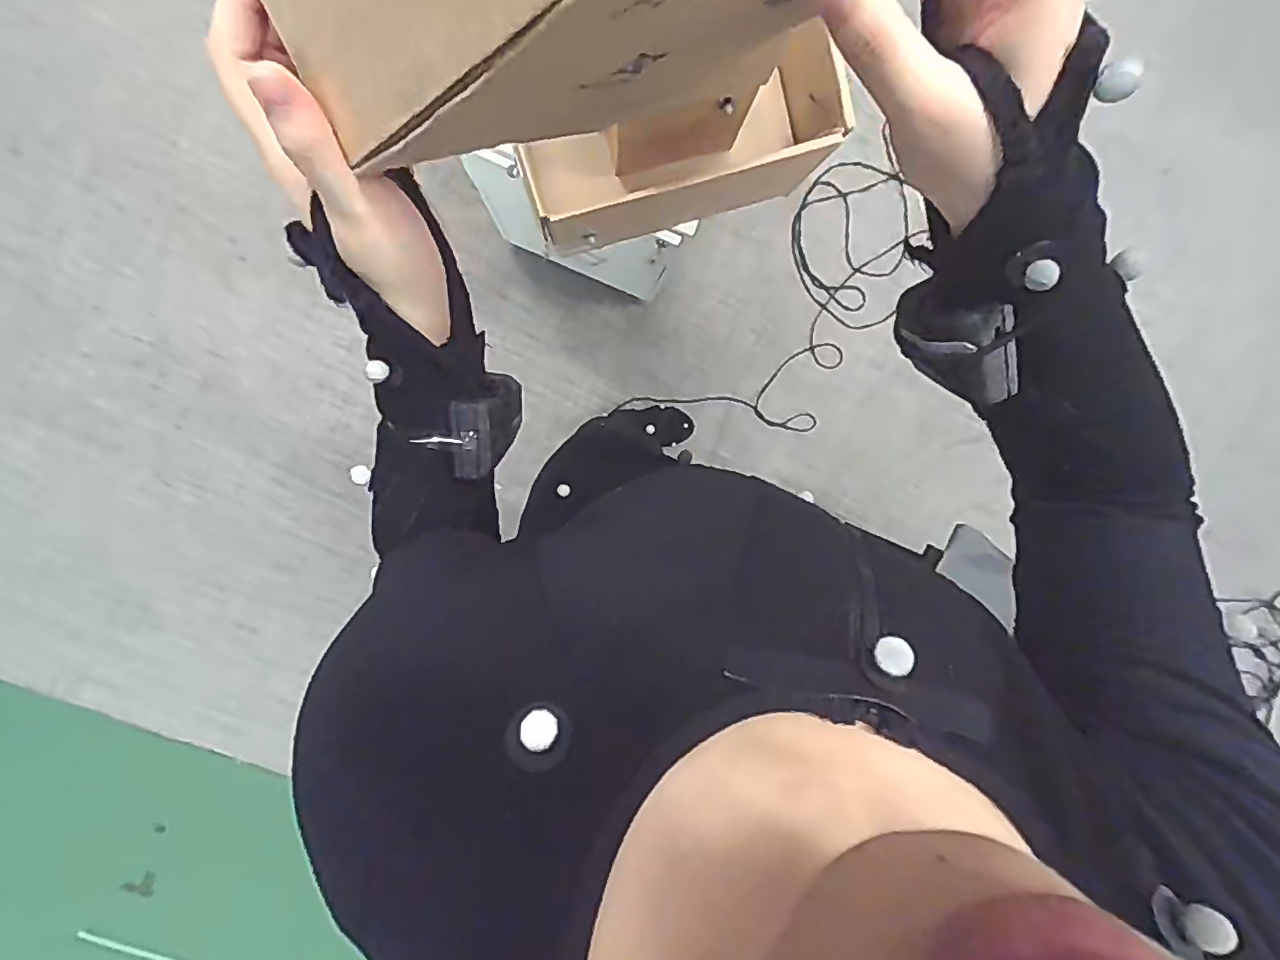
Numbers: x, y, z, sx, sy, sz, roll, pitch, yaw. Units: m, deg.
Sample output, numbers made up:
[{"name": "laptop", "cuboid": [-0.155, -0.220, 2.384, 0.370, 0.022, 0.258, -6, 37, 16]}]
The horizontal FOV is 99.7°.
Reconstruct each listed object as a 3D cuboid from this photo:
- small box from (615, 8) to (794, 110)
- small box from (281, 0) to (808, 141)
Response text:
[{"name": "small box", "cuboid": [0.044, -0.499, 0.517, 0.179, 0.176, 0.168, -15, 97, -1]}, {"name": "small box", "cuboid": [-0.035, -0.243, 0.180, 0.168, 0.179, 0.176, -42, 124, -37]}]
